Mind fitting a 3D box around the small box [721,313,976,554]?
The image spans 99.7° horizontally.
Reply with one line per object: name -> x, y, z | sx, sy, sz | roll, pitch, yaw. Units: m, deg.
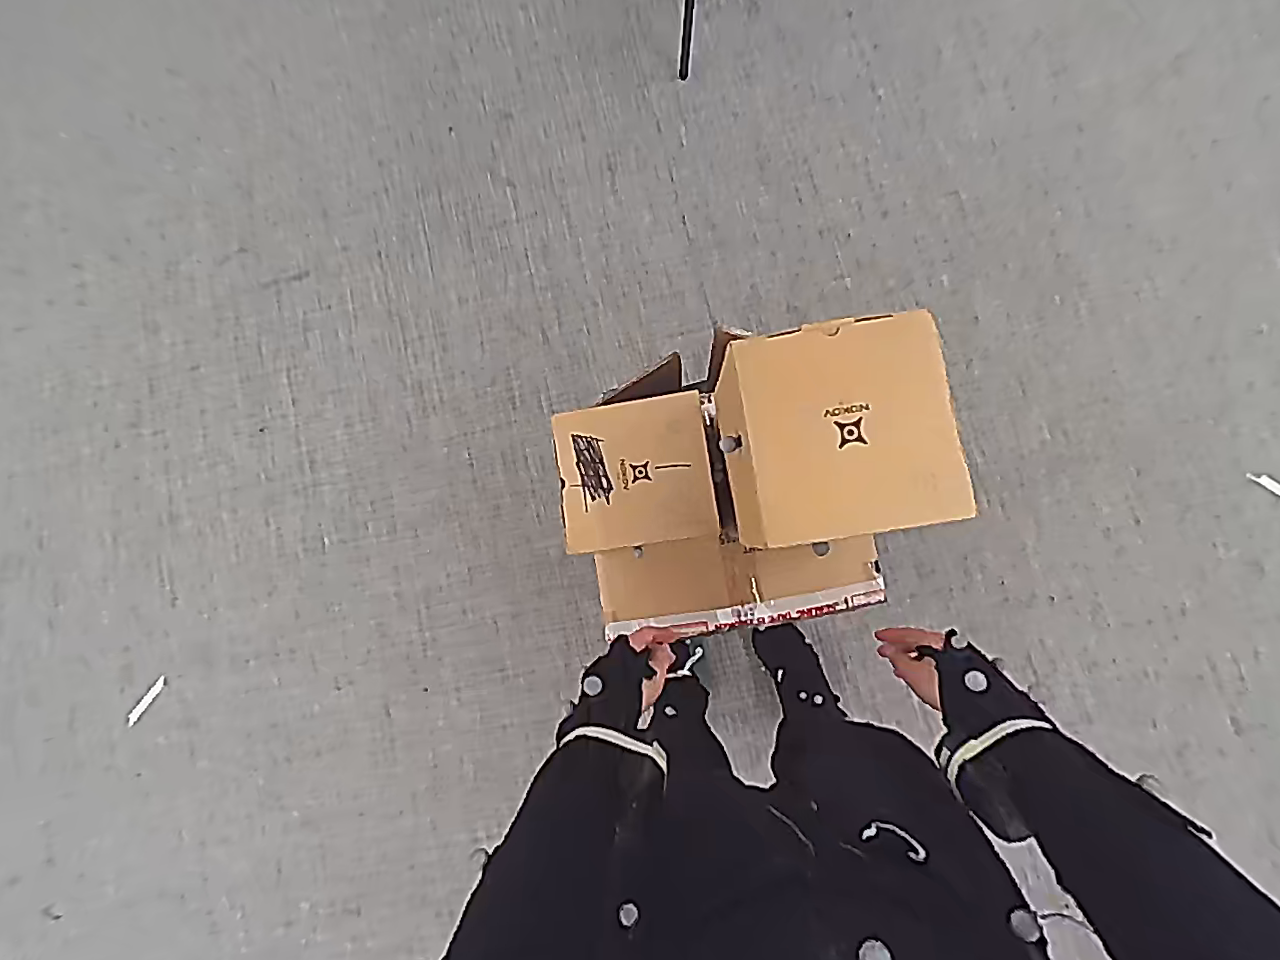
small box -> 0.175, -0.031, 0.512 | 0.168, 0.176, 0.179 | -10, 82, 3
